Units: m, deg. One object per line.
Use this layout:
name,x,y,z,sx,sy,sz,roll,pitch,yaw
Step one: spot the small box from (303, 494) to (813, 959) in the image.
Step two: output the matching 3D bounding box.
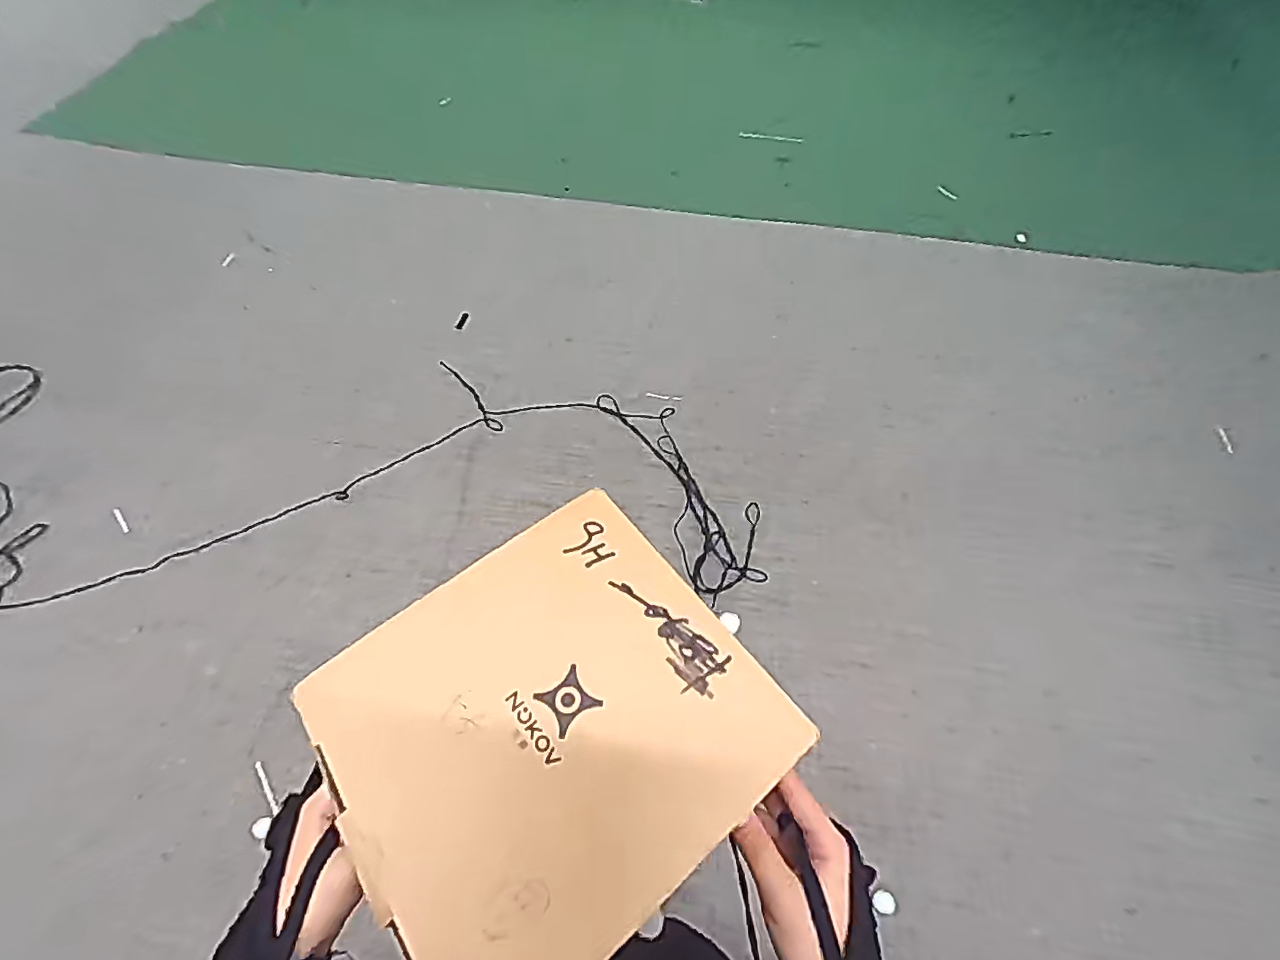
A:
small box,-0.037,0.148,0.307,0.179,0.176,0.168,-34,64,-19
